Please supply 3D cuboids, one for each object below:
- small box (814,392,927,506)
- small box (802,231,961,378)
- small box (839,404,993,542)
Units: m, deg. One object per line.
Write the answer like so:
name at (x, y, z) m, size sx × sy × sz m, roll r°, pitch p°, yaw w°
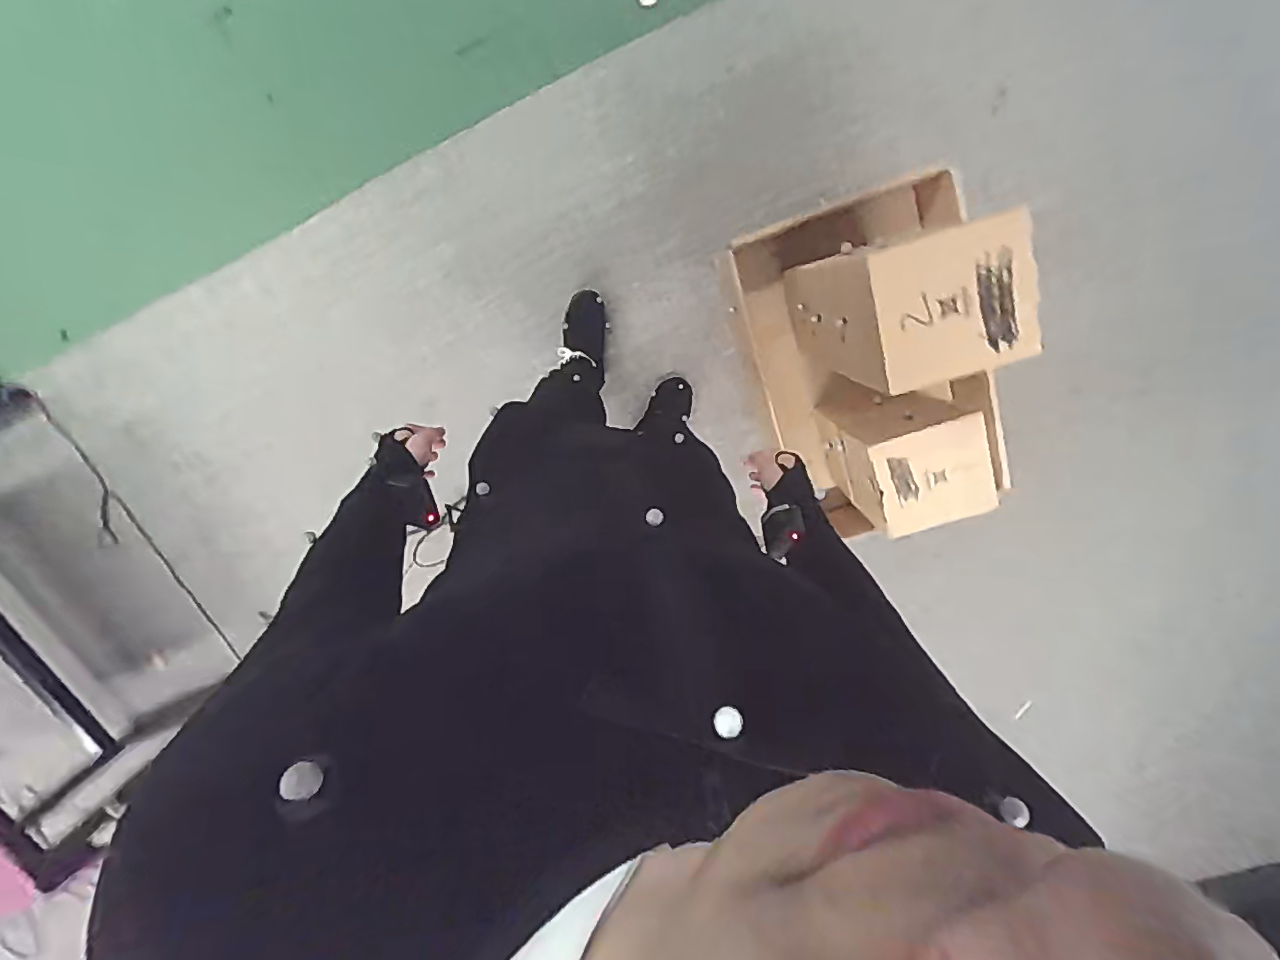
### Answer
small box at (0.461, -0.068, 1.079) m, size 0.179 × 0.176 × 0.168 m, roll -17°, pitch 105°, yaw 7°
small box at (0.364, -0.269, 0.847) m, size 0.179 × 0.176 × 0.168 m, roll -16°, pitch 107°, yaw 7°
small box at (0.456, -0.019, 0.922) m, size 0.179 × 0.176 × 0.168 m, roll -17°, pitch 106°, yaw 7°
